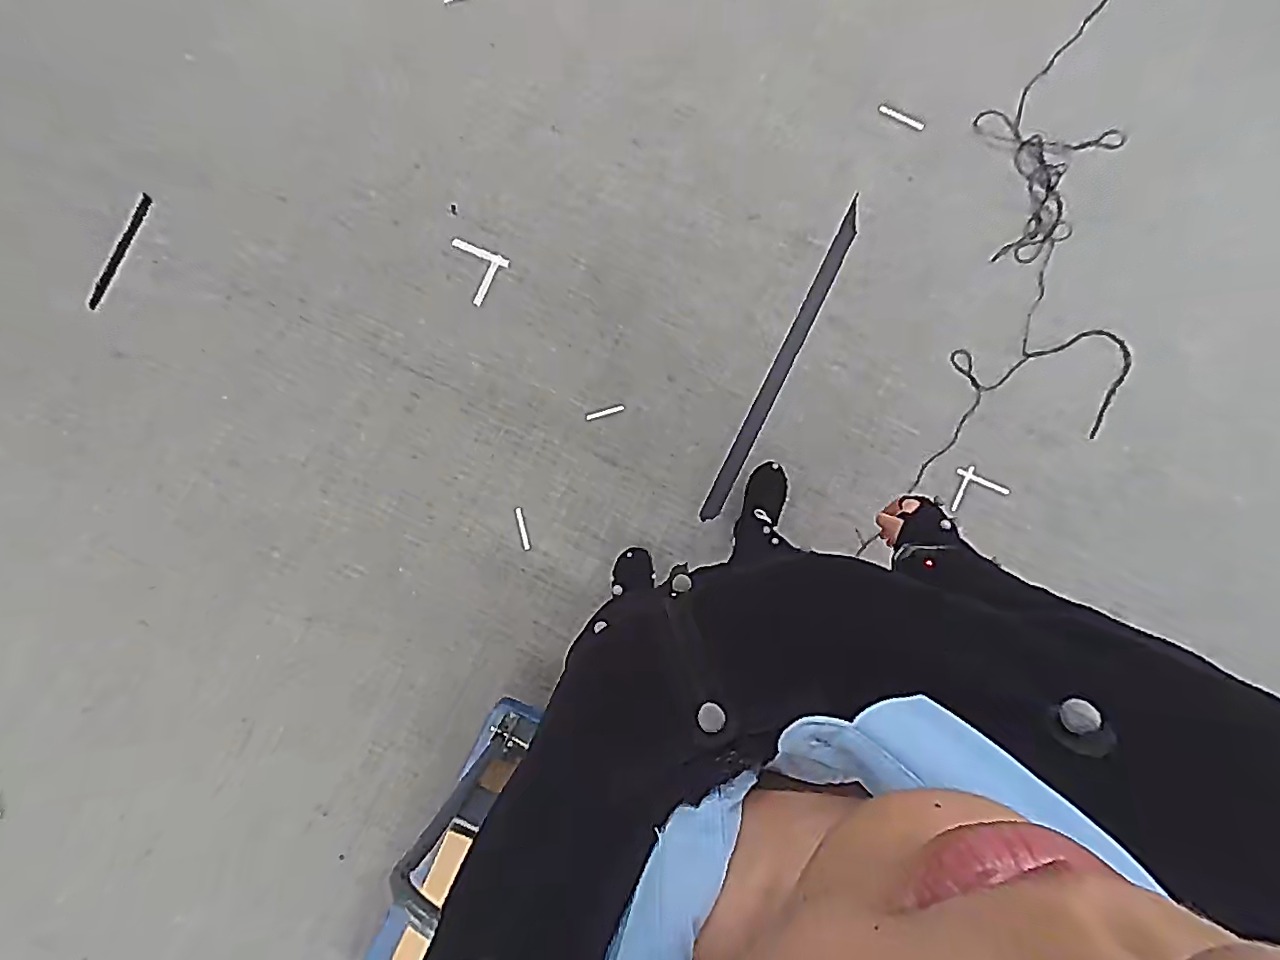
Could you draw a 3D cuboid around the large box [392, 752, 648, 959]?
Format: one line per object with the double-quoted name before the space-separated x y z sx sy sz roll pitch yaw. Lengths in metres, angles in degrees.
"large box" -0.221 0.854 1.139 0.408 0.320 0.320 23 85 3
